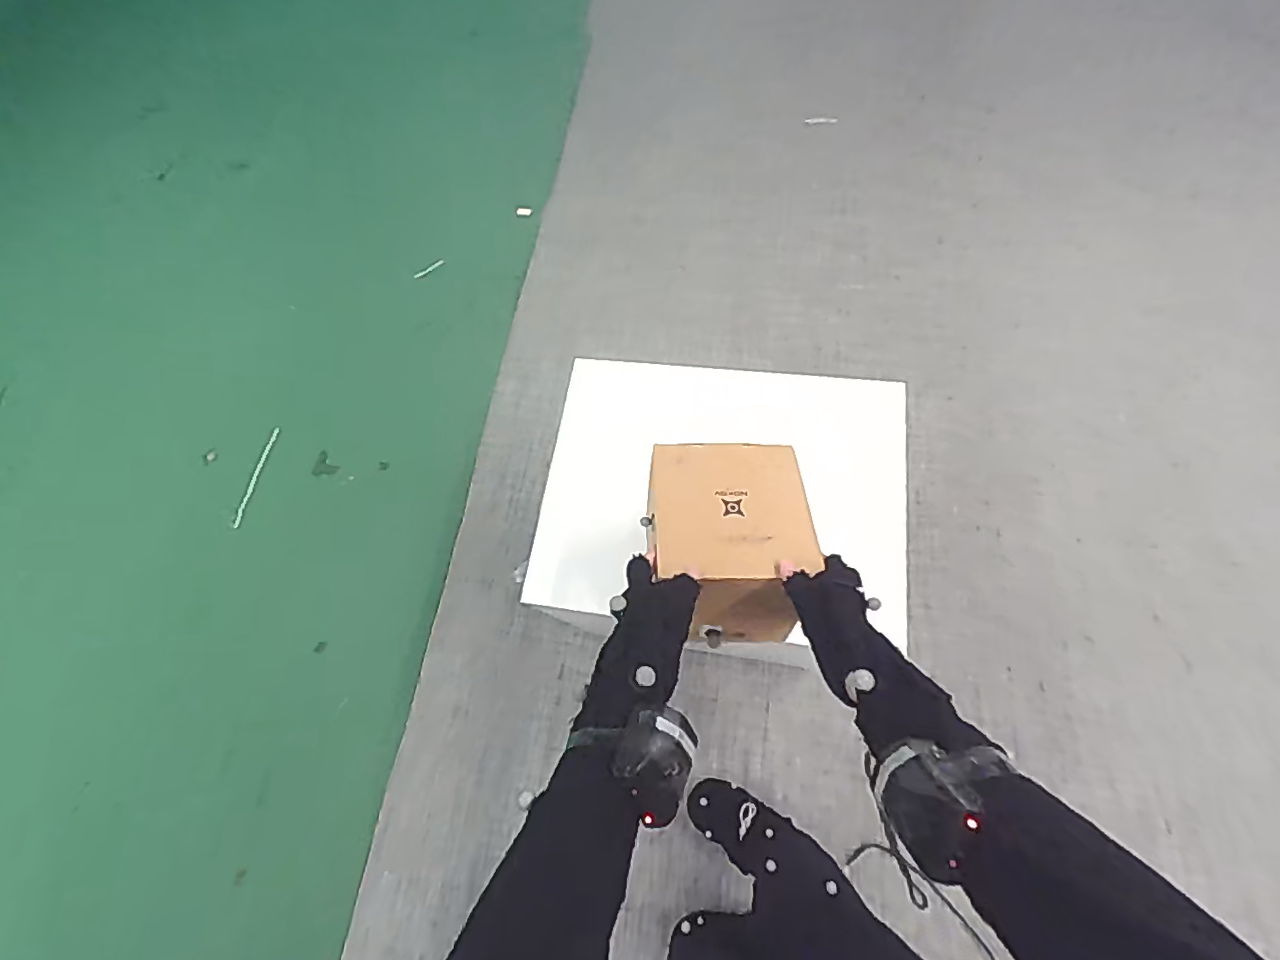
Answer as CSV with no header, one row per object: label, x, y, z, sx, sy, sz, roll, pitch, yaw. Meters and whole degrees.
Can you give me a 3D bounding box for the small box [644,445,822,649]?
small box,0.090,0.078,0.625,0.168,0.176,0.179,-2,51,-1
